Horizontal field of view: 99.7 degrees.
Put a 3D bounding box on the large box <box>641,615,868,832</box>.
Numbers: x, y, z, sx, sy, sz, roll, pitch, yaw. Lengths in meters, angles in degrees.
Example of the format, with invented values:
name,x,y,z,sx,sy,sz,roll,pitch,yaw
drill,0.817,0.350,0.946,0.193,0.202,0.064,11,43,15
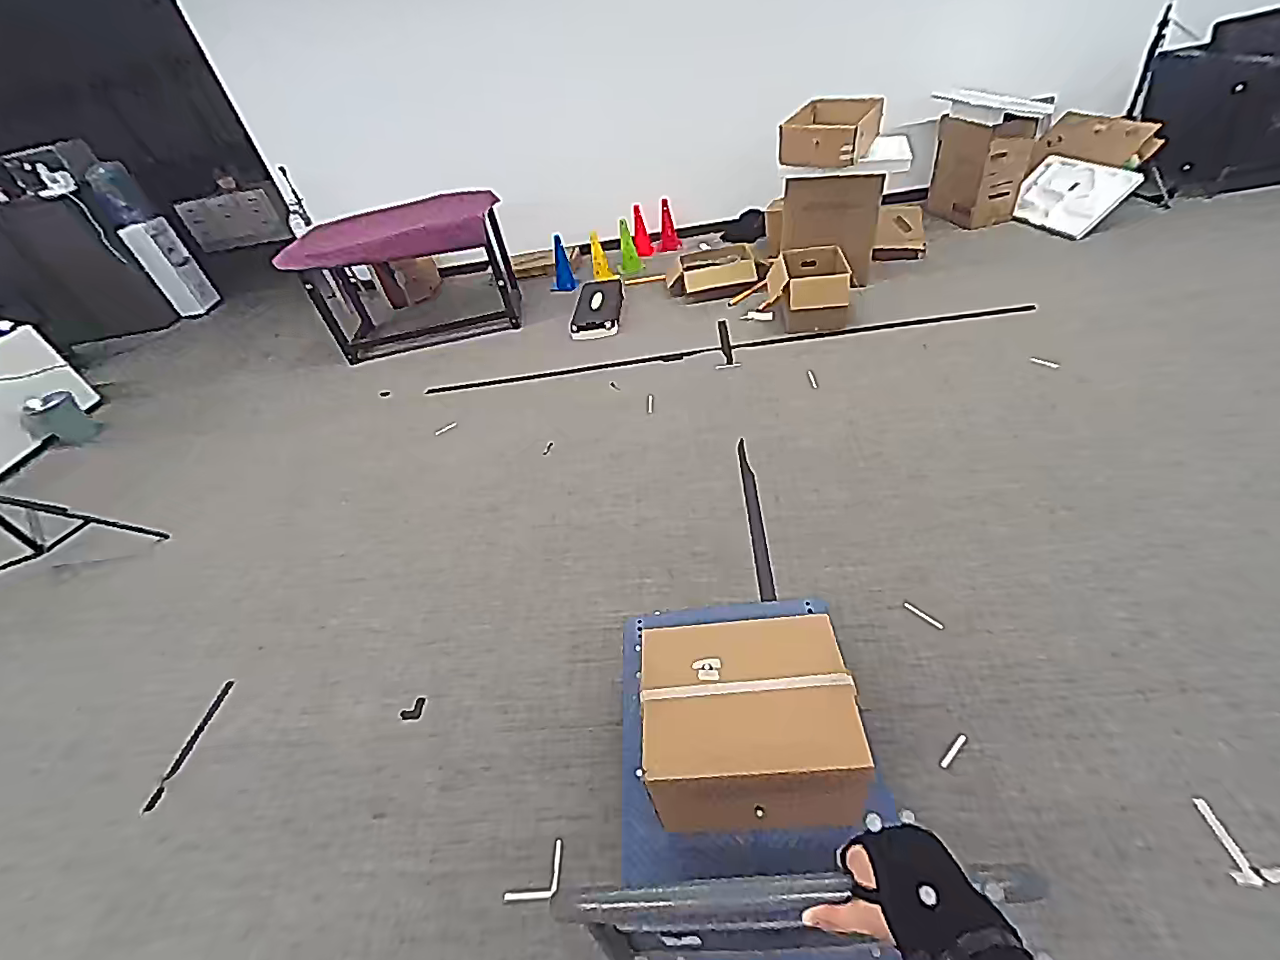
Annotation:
name,x,y,z,sx,sy,sz,roll,pitch,yaw
large box,0.230,0.531,1.172,0.408,0.320,0.320,-9,40,6
